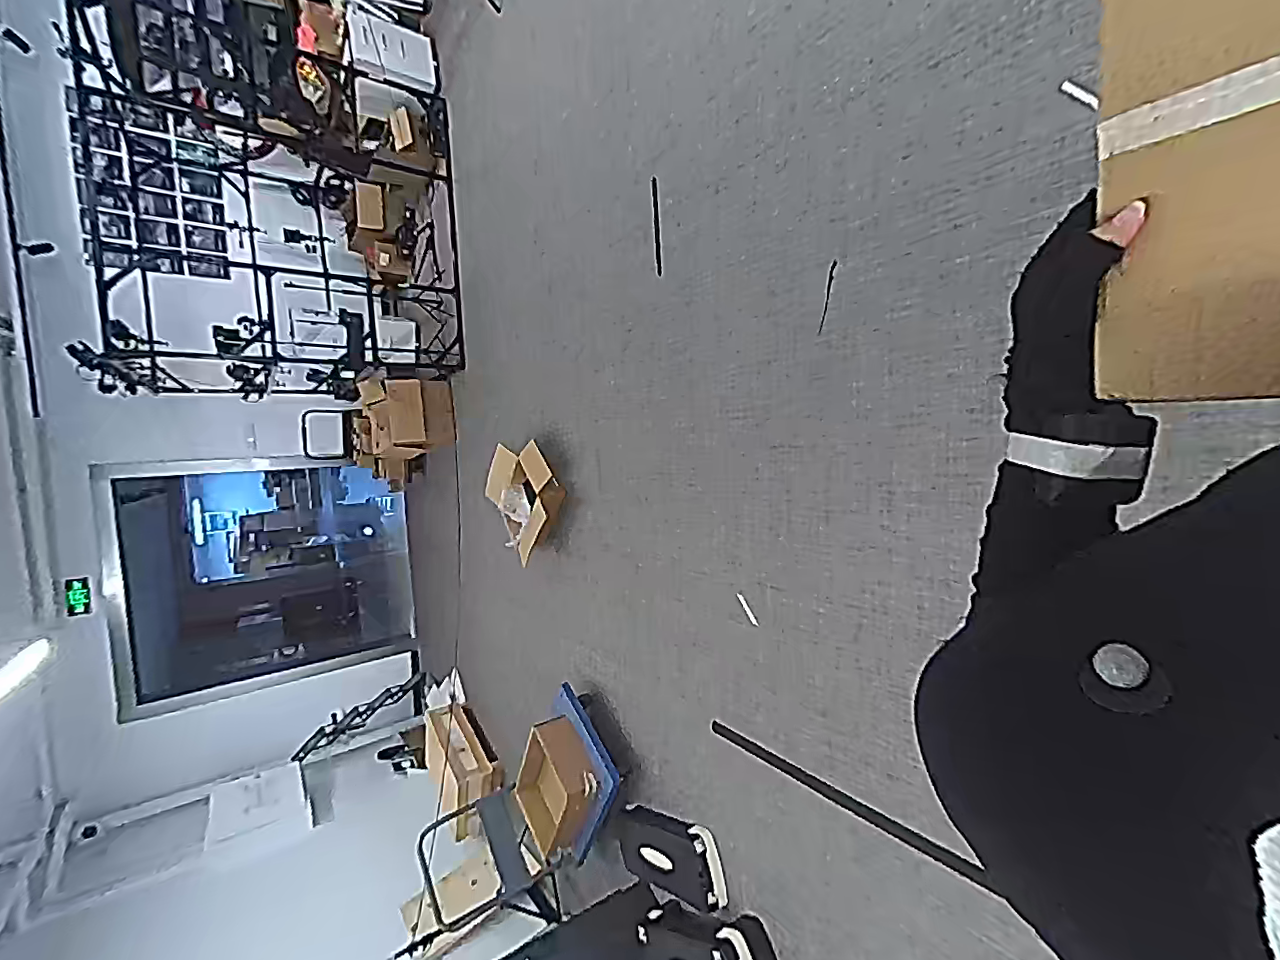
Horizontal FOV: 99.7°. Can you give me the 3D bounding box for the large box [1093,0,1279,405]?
[{"bbox_3d":[0.516,-0.216,0.249,0.408,0.320,0.320,7,105,56],"label":"large box"}]
